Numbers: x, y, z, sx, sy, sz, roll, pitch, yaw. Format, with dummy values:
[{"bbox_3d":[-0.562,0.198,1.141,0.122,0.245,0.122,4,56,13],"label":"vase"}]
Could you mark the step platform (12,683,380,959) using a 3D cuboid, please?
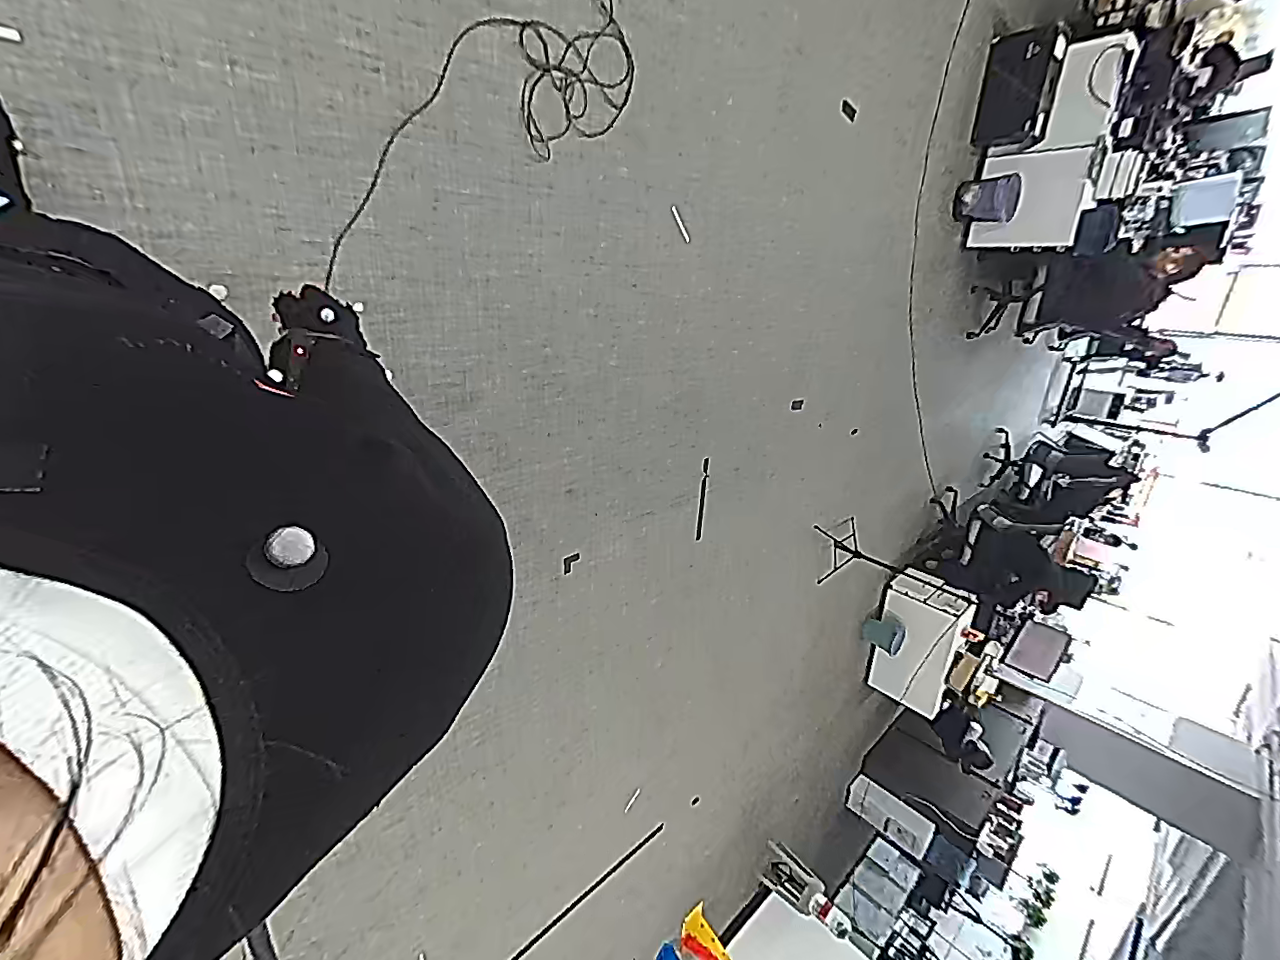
[{"bbox_3d":[-1.016,0.799,1.328,0.684,0.204,0.286,-18,118,-38],"label":"step platform"}]
